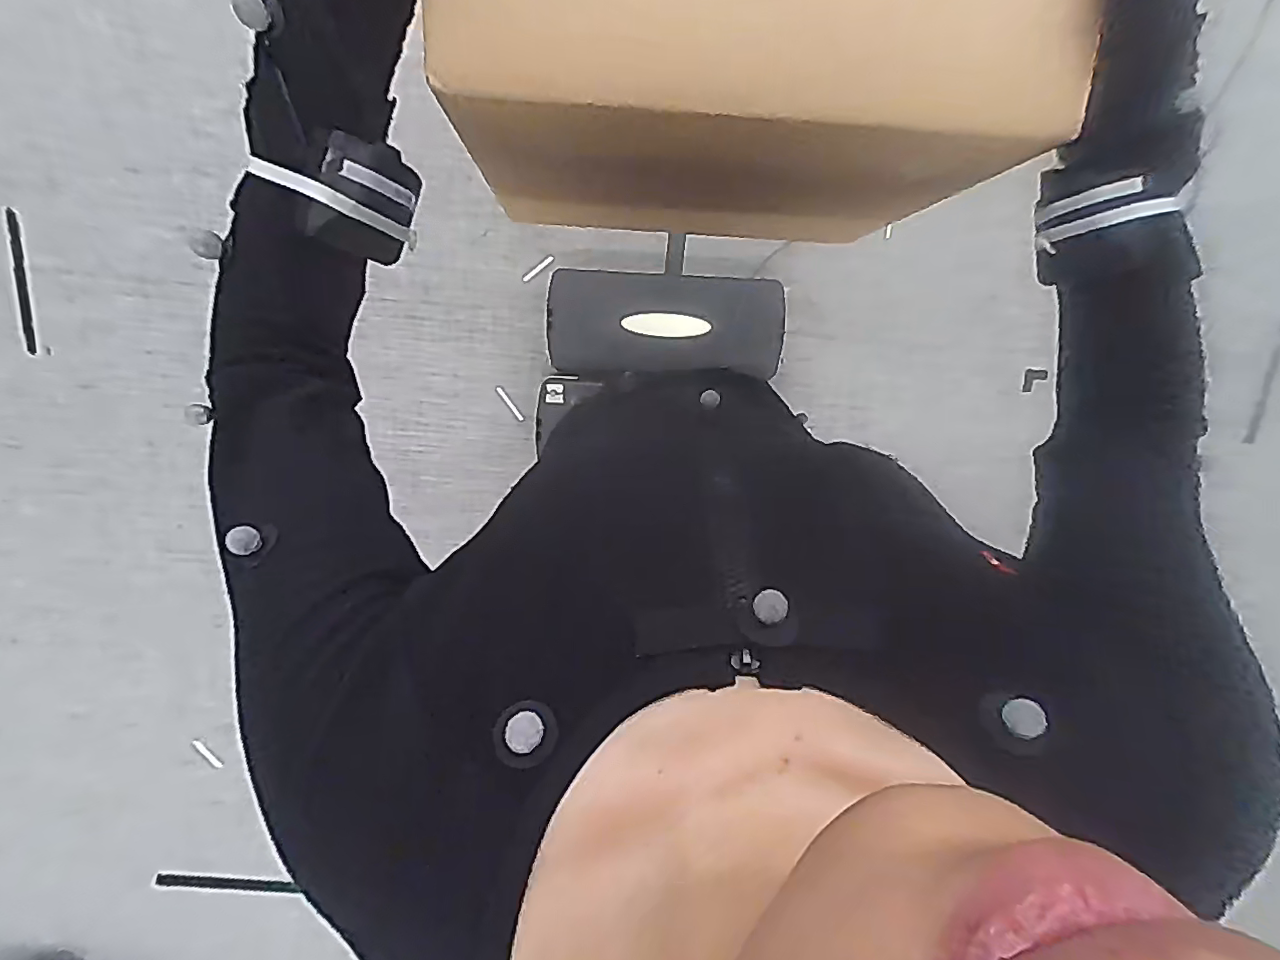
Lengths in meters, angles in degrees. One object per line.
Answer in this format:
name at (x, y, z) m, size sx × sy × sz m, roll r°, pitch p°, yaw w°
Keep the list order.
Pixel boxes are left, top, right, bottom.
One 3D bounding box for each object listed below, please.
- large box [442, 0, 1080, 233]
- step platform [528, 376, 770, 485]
large box at (0.068, -0.411, 0.455) m, size 0.408 × 0.320 × 0.320 m, roll 0°, pitch 103°, yaw -5°
step platform at (0.025, -0.143, 1.558) m, size 0.684 × 0.204 × 0.286 m, roll 2°, pitch 101°, yaw 0°
